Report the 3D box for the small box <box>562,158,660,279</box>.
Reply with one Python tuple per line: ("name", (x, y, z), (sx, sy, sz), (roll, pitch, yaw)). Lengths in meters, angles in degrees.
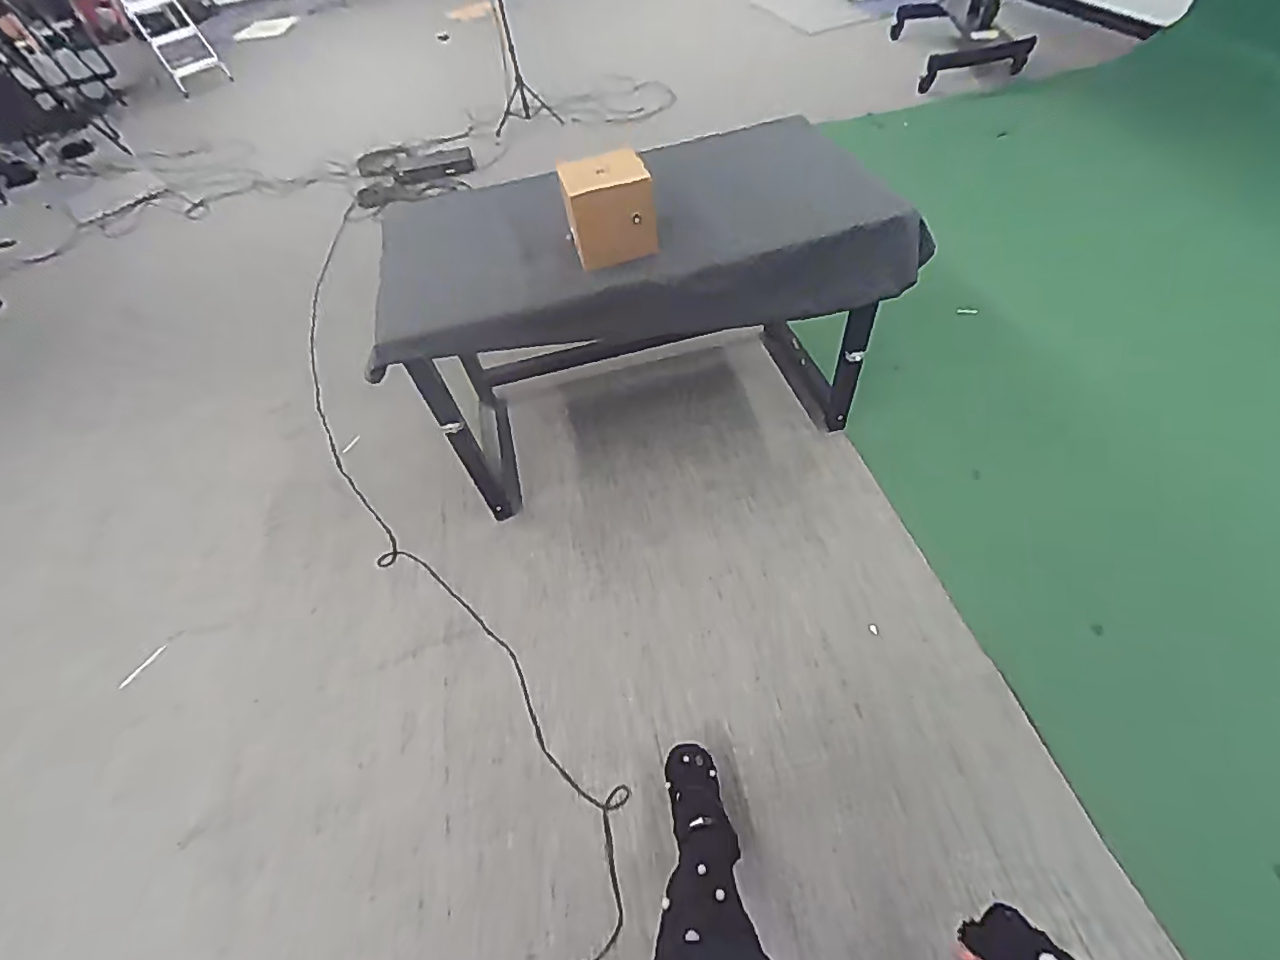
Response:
("small box", (-0.059, -0.579, 1.204), (0.179, 0.176, 0.168), (-17, 51, -4))
